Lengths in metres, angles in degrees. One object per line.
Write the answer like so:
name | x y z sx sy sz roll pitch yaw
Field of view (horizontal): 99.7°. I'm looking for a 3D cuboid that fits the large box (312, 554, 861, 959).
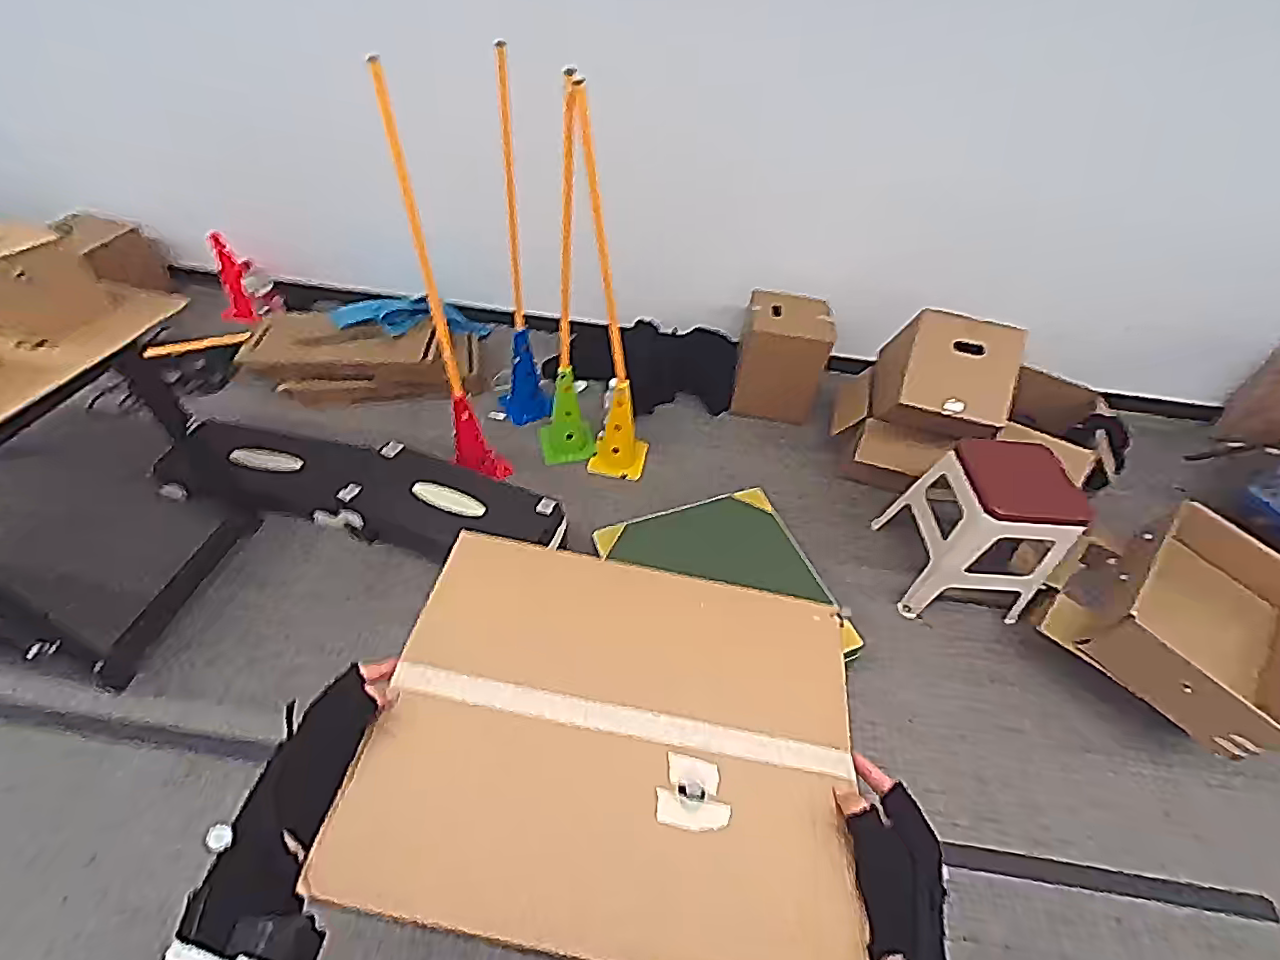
large box | -0.034 0.323 0.584 0.408 0.320 0.320 12 49 2
